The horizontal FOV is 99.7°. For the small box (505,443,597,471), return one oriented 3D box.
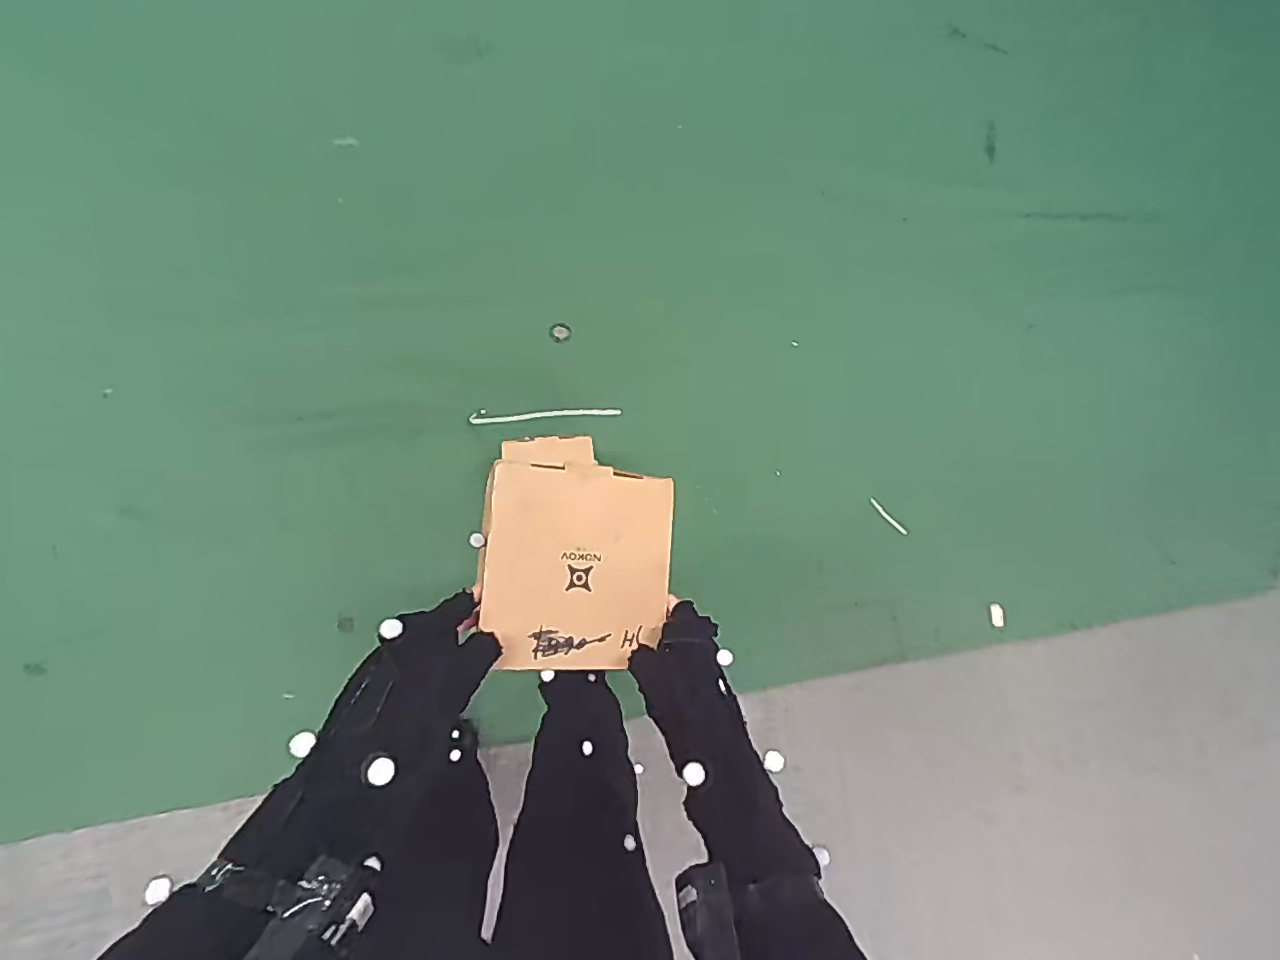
[{"bbox_3d":[-0.169,0.031,1.032,0.168,0.176,0.179,-3,86,-9],"label":"small box"}]

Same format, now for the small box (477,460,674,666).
[{"bbox_3d":[-0.074,0.085,0.558,0.168,0.176,0.179,6,82,-17],"label":"small box"}]
